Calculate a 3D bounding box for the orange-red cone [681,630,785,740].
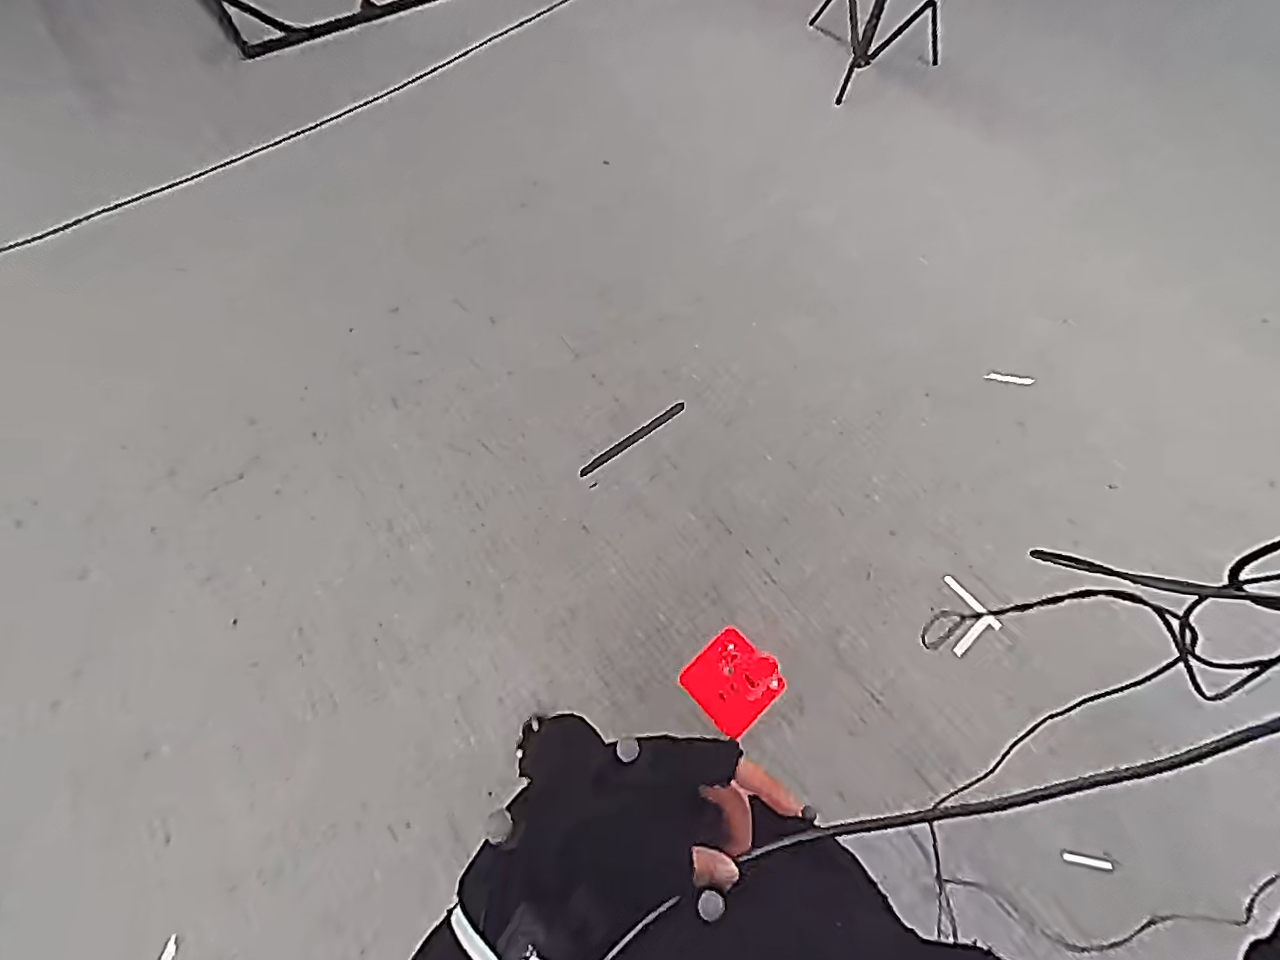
[{"bbox_3d":[0.227,0.421,1.153,0.199,0.360,0.198,-39,71,-16],"label":"orange-red cone"}]
